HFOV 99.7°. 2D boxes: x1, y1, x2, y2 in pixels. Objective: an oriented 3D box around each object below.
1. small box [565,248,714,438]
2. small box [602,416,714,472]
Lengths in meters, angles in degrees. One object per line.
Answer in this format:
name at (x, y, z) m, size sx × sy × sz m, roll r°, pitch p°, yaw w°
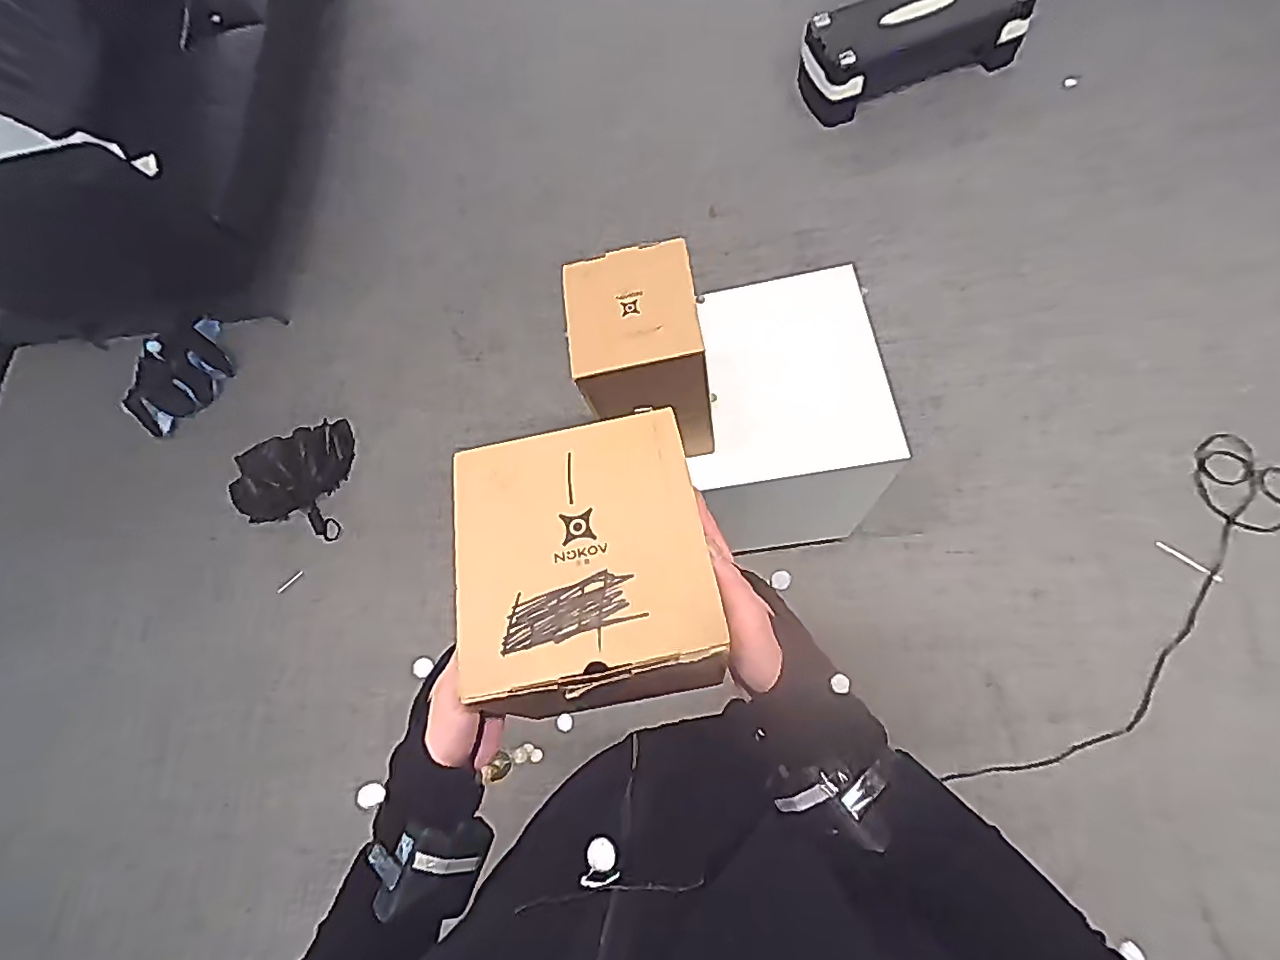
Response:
small box at (0.004, -0.180, 0.751) m, size 0.168 × 0.176 × 0.179 m, roll -12°, pitch 70°, yaw 8°
small box at (0.030, -0.131, 0.904) m, size 0.168 × 0.176 × 0.179 m, roll -9°, pitch 68°, yaw 8°
